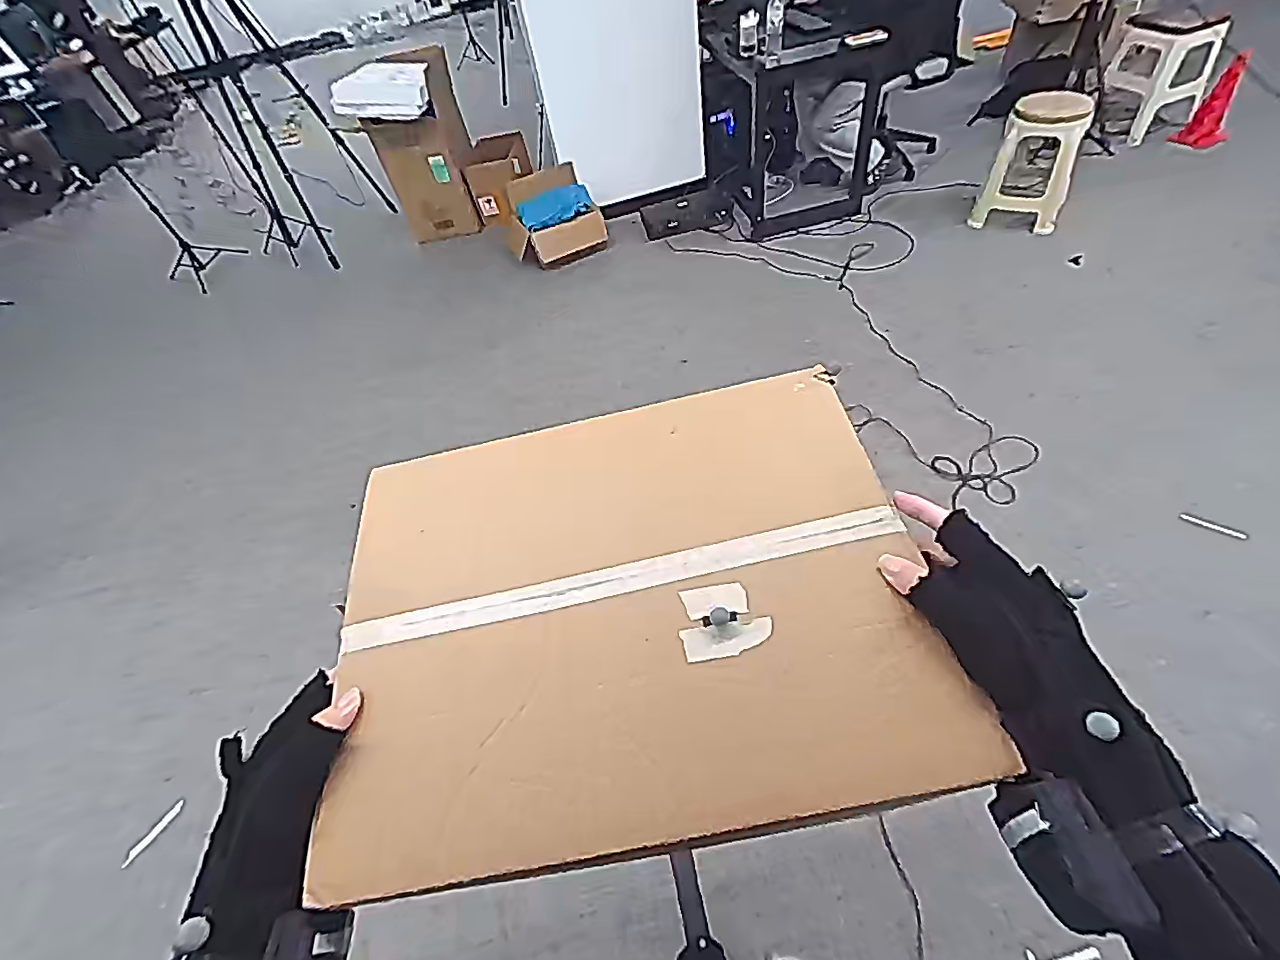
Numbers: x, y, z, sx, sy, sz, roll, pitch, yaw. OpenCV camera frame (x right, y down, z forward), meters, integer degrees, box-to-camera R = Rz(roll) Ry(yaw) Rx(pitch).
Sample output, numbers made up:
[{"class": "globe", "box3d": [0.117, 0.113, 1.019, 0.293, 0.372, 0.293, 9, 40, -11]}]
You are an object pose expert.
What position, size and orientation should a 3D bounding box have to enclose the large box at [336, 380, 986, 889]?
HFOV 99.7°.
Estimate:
[{"class": "large box", "box3d": [0.007, 0.160, 0.522, 0.408, 0.320, 0.320, -13, 56, 2]}]
